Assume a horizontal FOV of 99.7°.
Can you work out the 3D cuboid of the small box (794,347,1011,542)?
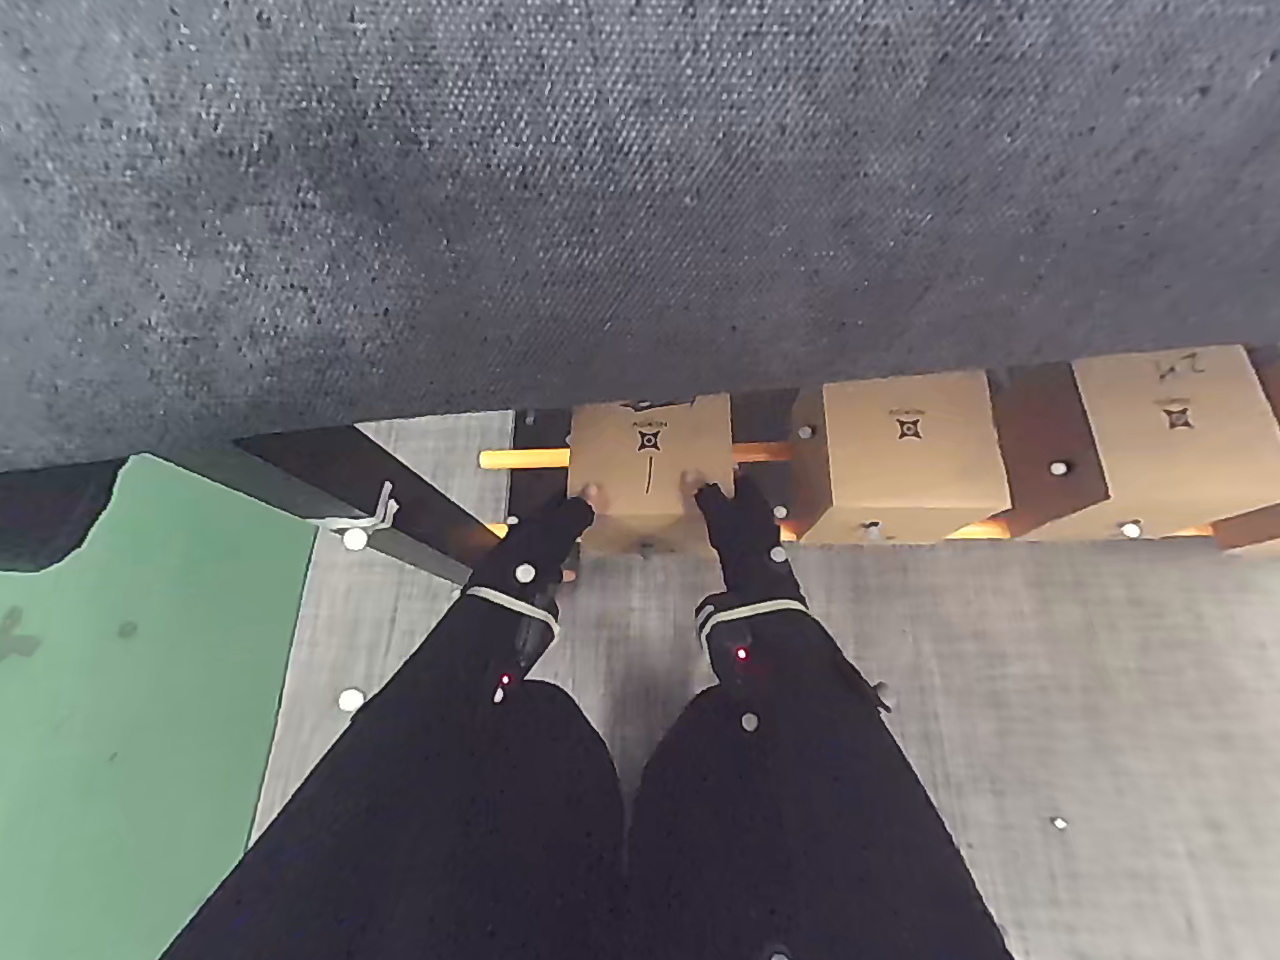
[{"bbox_3d":[0.276,-0.030,0.614,0.168,0.176,0.179,0,70,5],"label":"small box"}]
